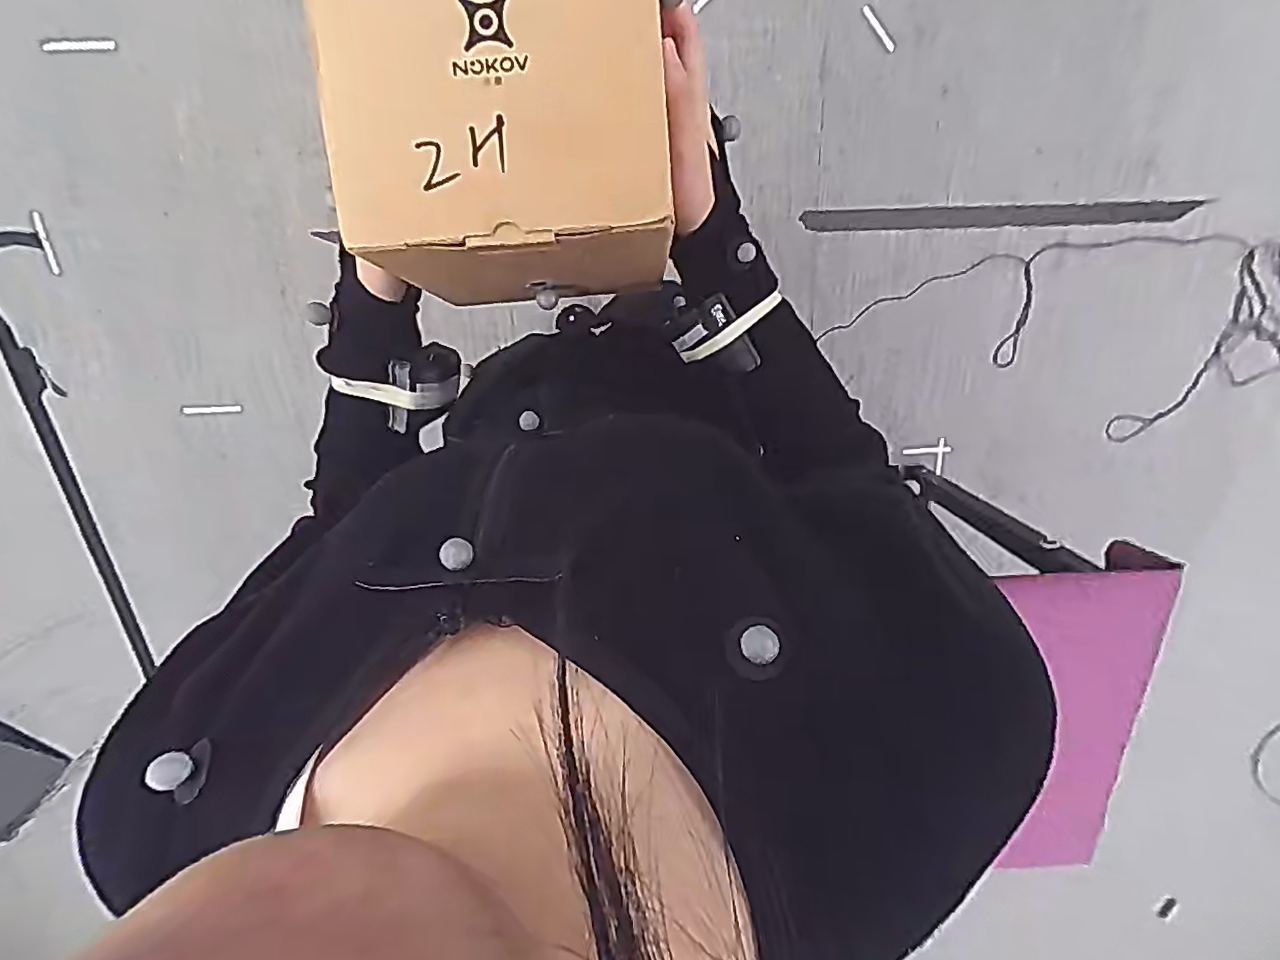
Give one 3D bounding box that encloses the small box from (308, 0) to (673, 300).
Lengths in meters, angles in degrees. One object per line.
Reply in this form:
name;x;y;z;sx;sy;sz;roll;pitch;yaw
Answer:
small box;-0.071;-0.219;0.330;0.168;0.176;0.179;-4;99;1
